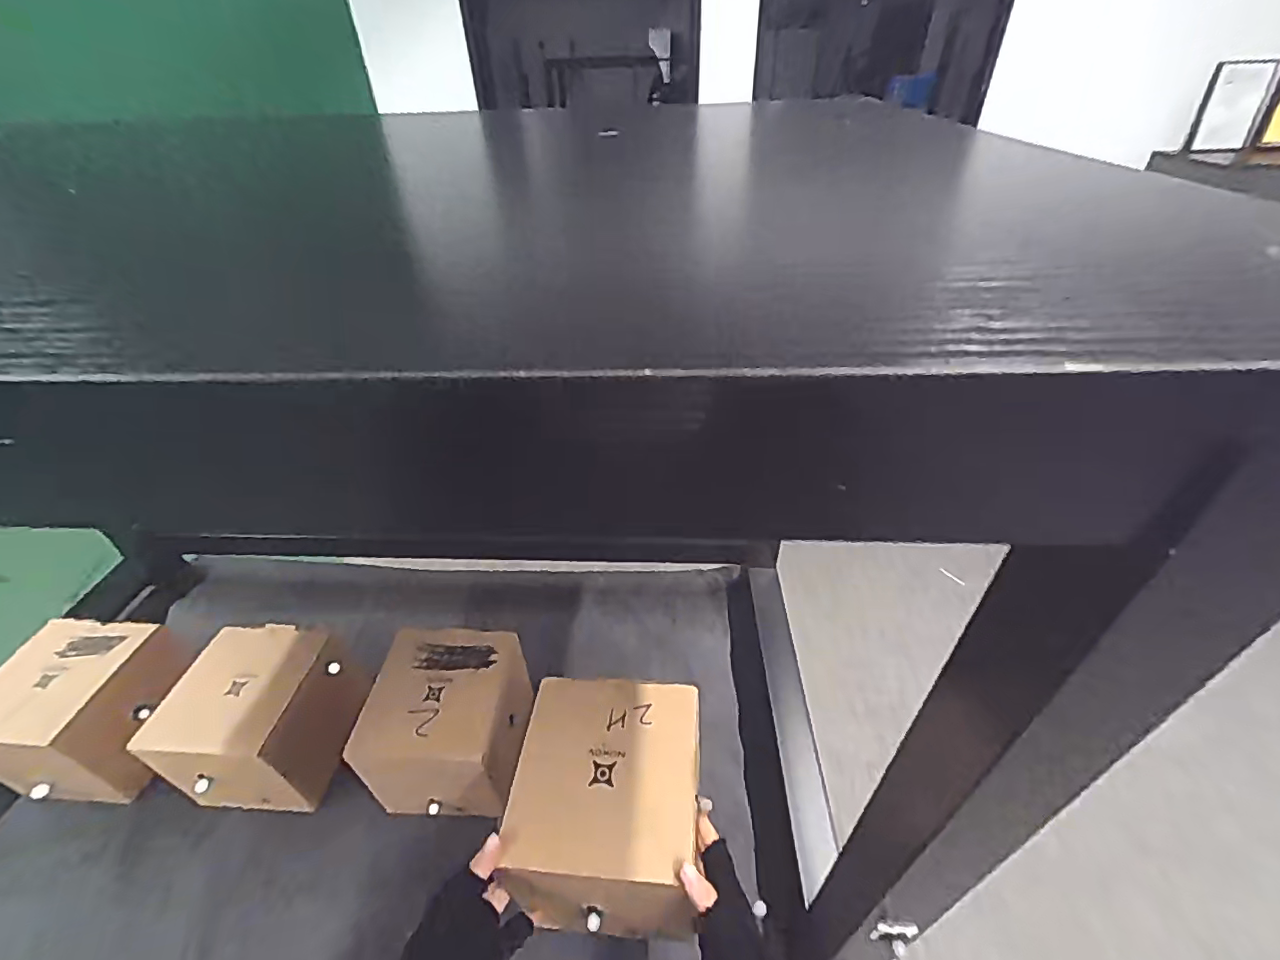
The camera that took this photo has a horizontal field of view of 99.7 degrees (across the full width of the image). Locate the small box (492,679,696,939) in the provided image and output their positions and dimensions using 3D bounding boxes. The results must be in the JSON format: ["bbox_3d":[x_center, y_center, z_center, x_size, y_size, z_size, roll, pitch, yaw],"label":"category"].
[{"bbox_3d":[-0.028,0.331,0.549,0.168,0.176,0.179,1,37,7],"label":"small box"}]

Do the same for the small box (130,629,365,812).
[{"bbox_3d":[-0.512,0.330,0.743,0.168,0.176,0.179,1,38,4],"label":"small box"}]

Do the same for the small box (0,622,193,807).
[{"bbox_3d":[-0.764,0.324,0.757,0.168,0.176,0.179,1,39,4],"label":"small box"}]
